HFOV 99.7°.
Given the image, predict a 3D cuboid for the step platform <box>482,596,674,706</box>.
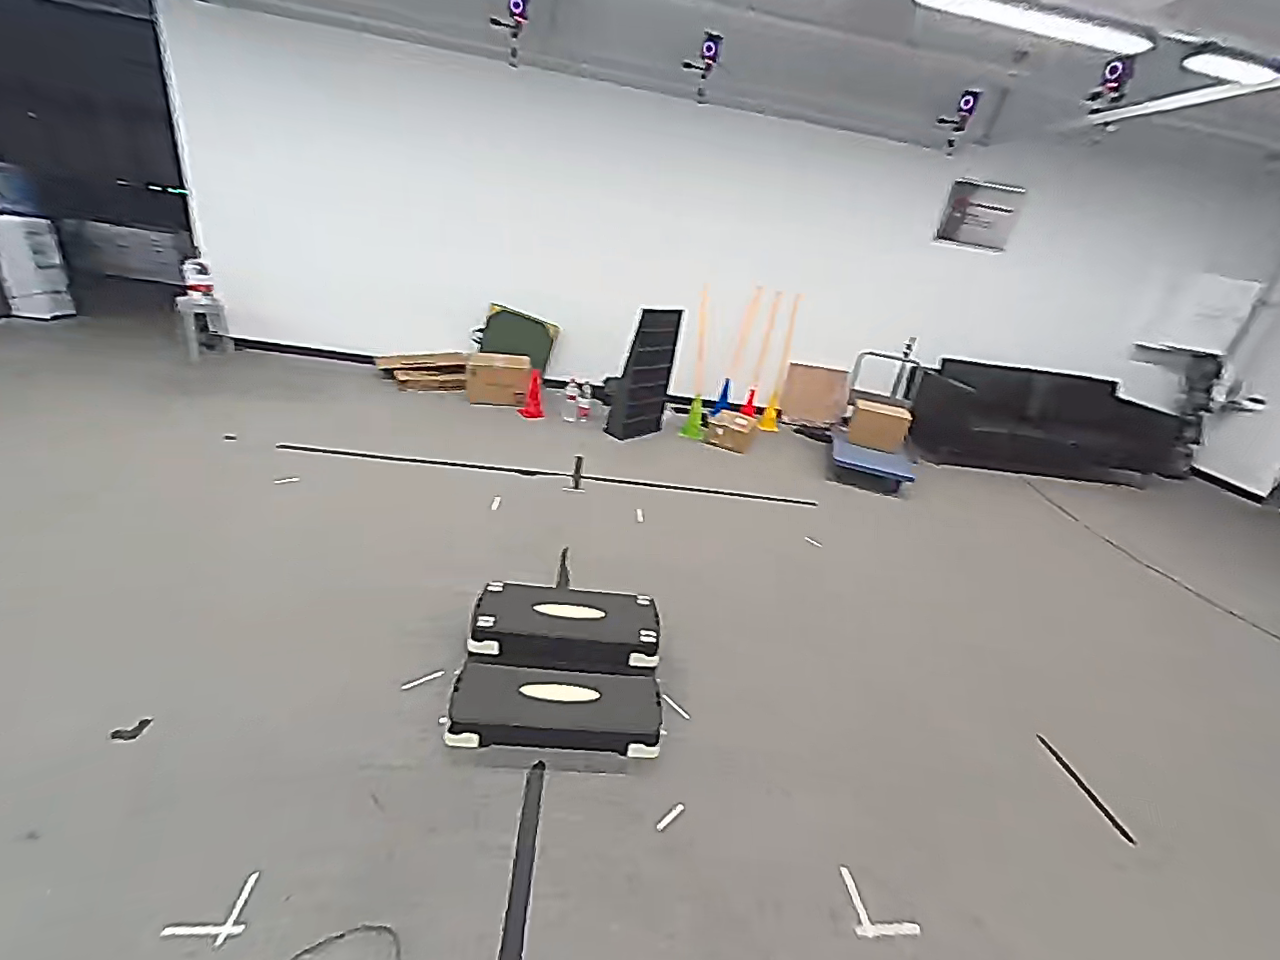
[{"bbox_3d":[-0.217,0.618,1.985,0.684,0.204,0.286,9,23,-2],"label":"step platform"}]
